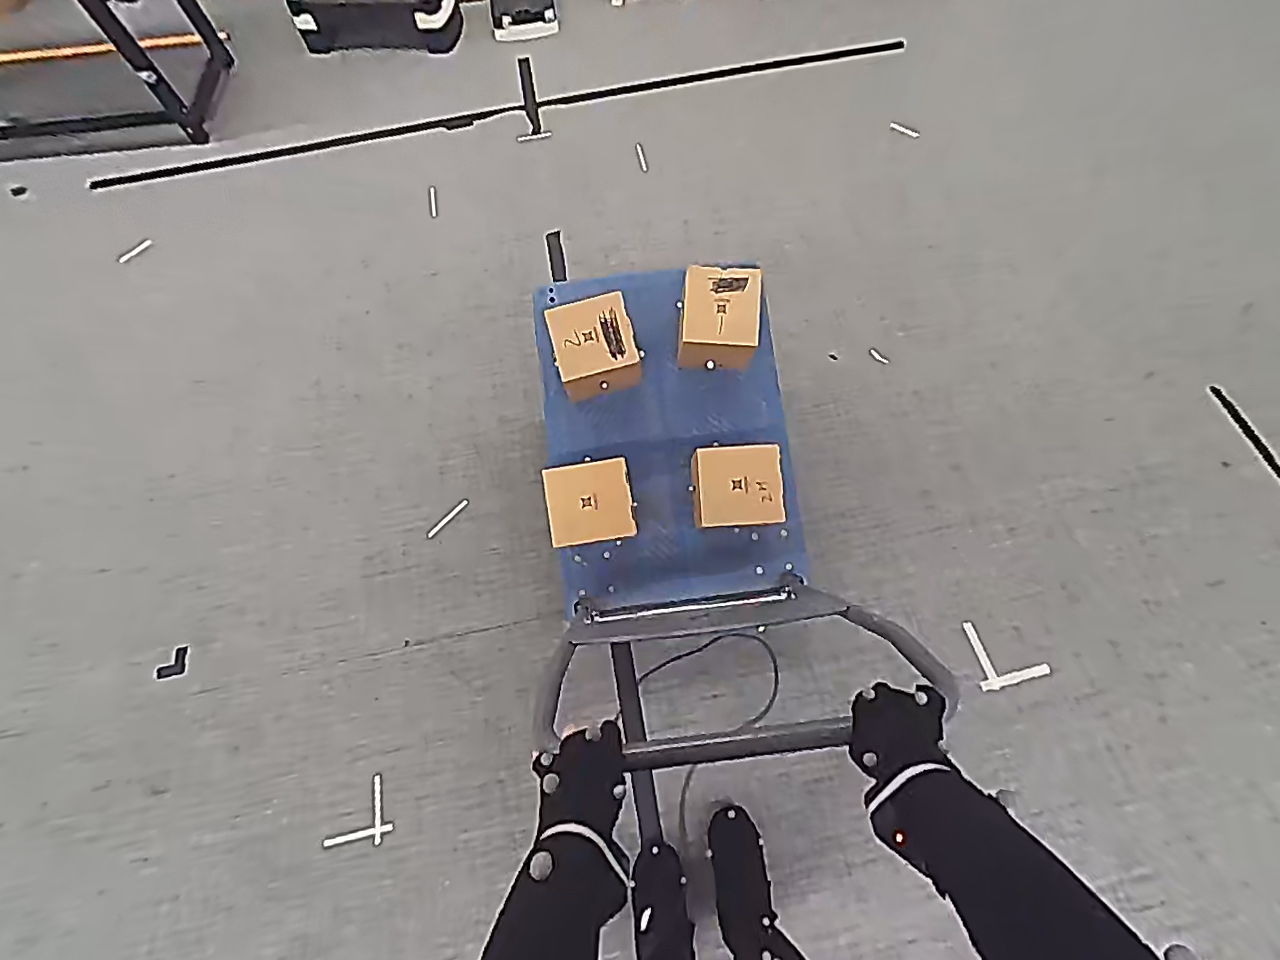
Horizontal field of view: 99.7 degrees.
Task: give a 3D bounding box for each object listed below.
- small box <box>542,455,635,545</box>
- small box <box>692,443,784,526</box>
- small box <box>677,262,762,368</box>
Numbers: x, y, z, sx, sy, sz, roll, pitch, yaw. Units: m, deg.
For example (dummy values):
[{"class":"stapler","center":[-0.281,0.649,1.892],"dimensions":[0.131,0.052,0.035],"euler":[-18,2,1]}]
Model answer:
[{"class":"small box","center":[-0.107,0.050,1.194],"dimensions":[0.179,0.176,0.168],"euler":[-9,84,-2]},{"class":"small box","center":[0.208,0.015,1.197],"dimensions":[0.179,0.176,0.168],"euler":[-3,84,0]},{"class":"small box","center":[0.176,-0.372,1.238],"dimensions":[0.168,0.176,0.179],"euler":[4,85,0]}]
